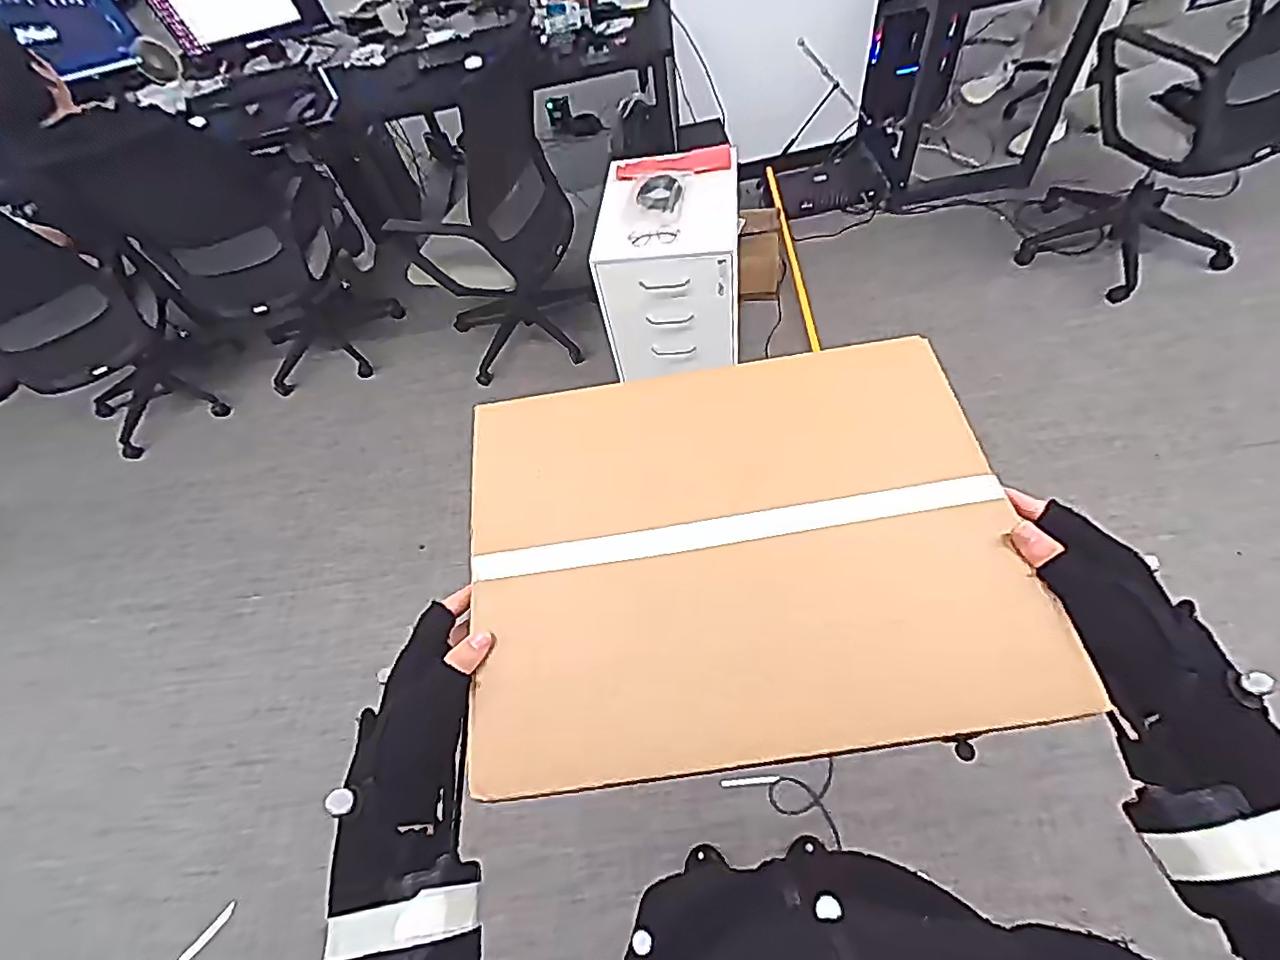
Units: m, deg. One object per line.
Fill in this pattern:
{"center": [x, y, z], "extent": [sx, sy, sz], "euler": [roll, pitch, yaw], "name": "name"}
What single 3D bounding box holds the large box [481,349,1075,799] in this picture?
{"center": [0.085, 0.111, 0.553], "extent": [0.408, 0.320, 0.320], "euler": [-8, 61, 1], "name": "large box"}
